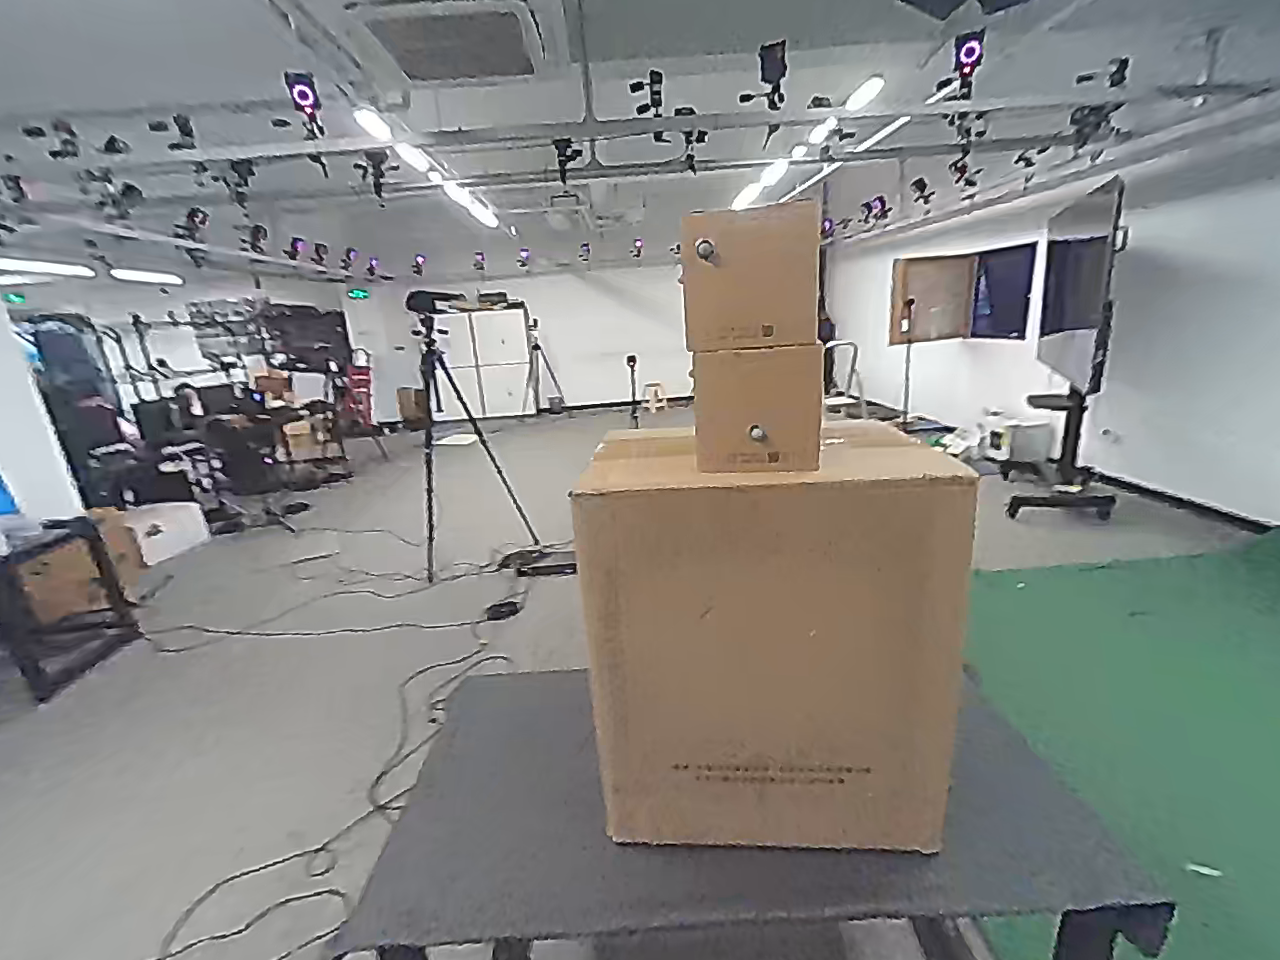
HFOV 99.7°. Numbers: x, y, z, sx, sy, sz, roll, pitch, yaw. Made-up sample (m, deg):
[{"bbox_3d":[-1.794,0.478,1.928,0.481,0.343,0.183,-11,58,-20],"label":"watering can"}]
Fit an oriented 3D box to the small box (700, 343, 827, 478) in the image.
[{"bbox_3d":[0.177,-0.109,0.807,0.168,0.176,0.179,0,19,10],"label":"small box"}]
